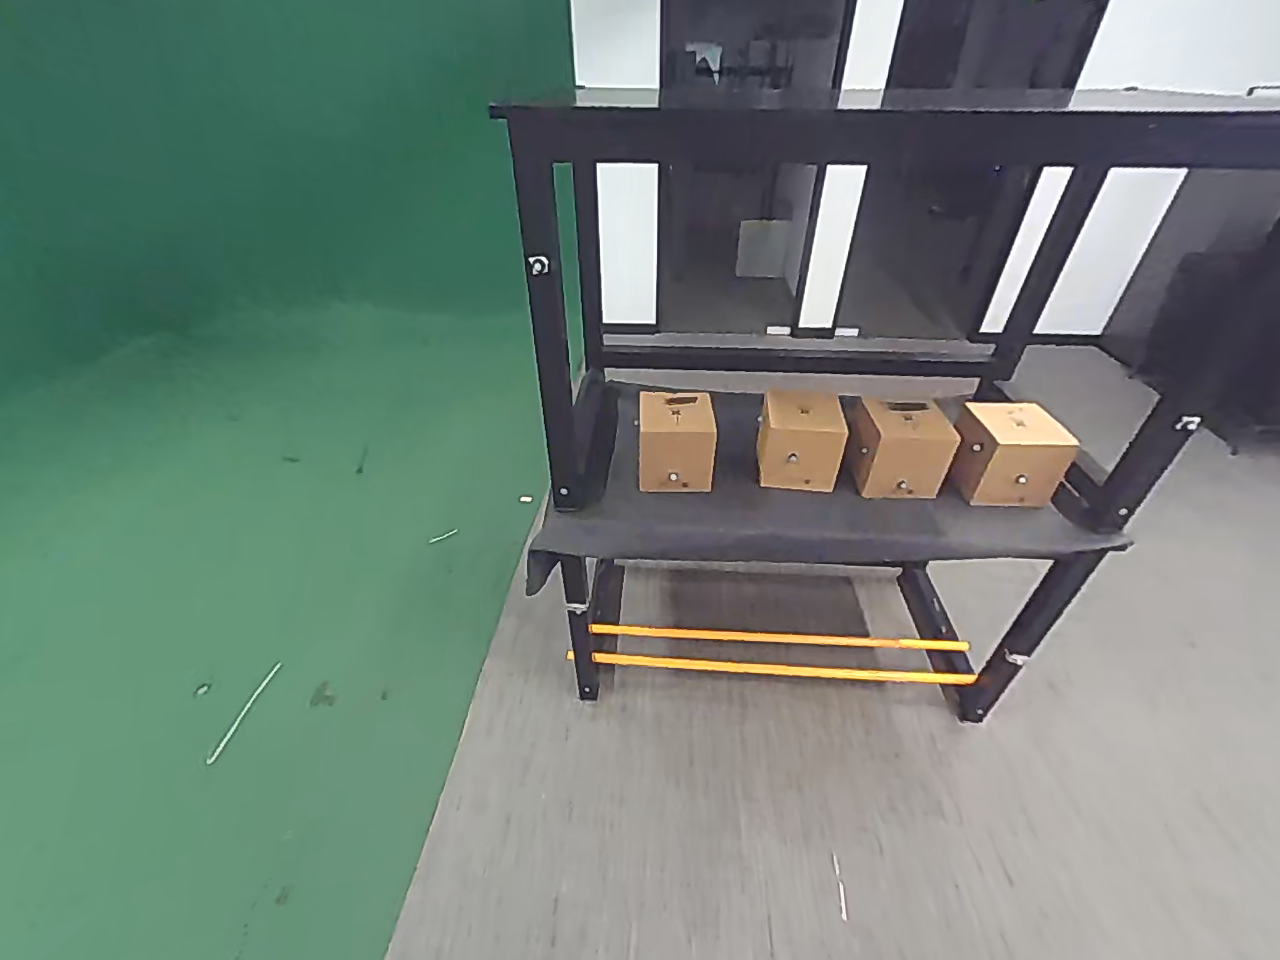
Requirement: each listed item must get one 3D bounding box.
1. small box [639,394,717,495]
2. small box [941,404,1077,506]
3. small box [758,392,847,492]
[{"bbox_3d":[0.083,-0.085,1.259,0.168,0.176,0.179,0,38,0],"label":"small box"},{"bbox_3d":[0.816,-0.055,1.217,0.168,0.176,0.179,1,37,1],"label":"small box"},{"bbox_3d":[0.371,-0.088,1.267,0.168,0.176,0.179,4,37,6],"label":"small box"}]
